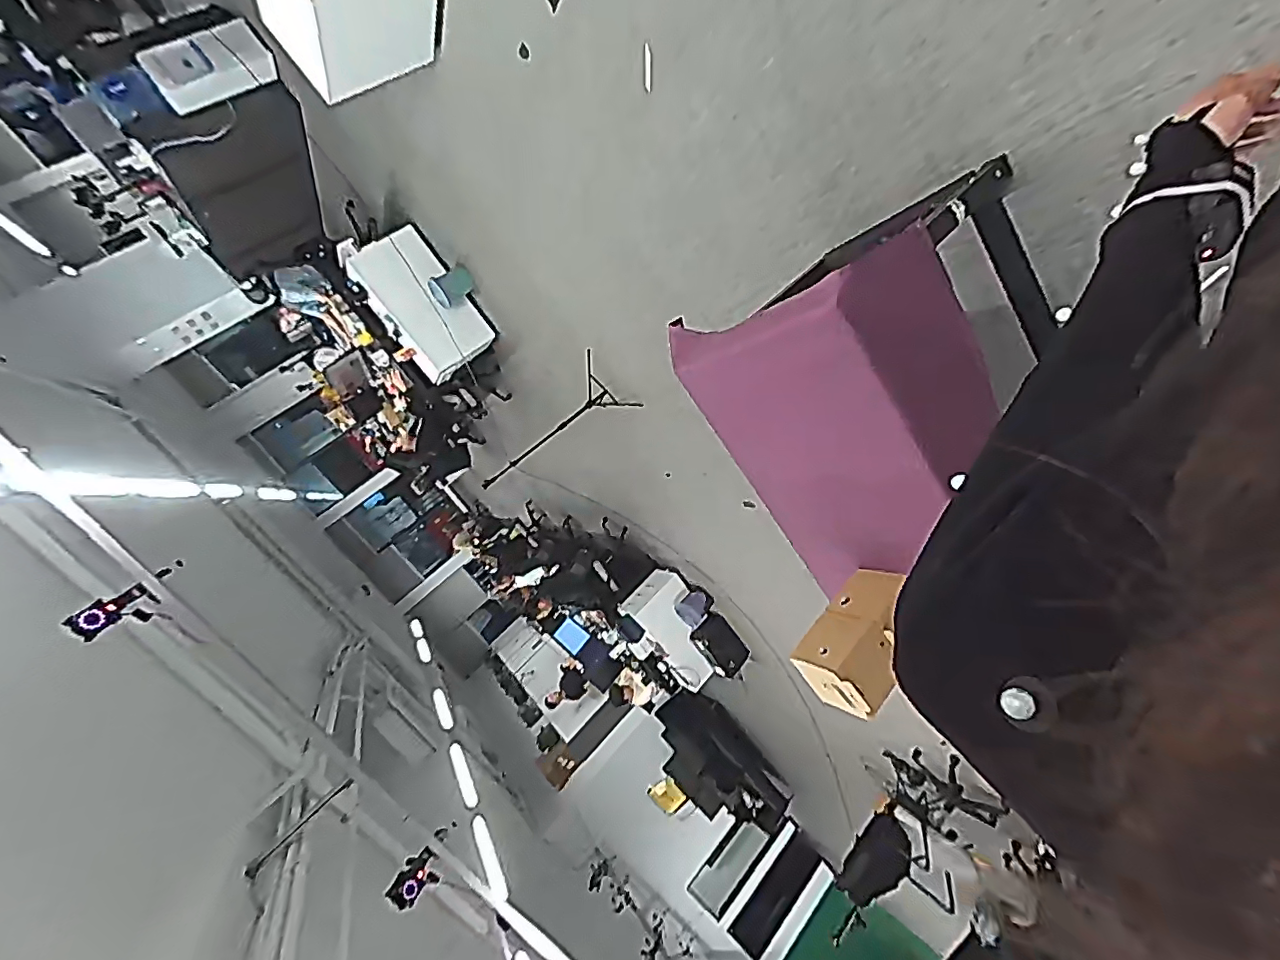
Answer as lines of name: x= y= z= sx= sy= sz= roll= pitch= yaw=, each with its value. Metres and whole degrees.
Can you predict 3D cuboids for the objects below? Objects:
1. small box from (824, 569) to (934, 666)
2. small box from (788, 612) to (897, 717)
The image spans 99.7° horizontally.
small box: x=0.634 y=0.355 z=1.434 sx=0.168 sy=0.176 sz=0.179 roll=53 pitch=158 yaw=-15
small box: x=0.521 y=0.459 z=1.376 sx=0.168 sy=0.176 sz=0.179 roll=52 pitch=159 yaw=-11
